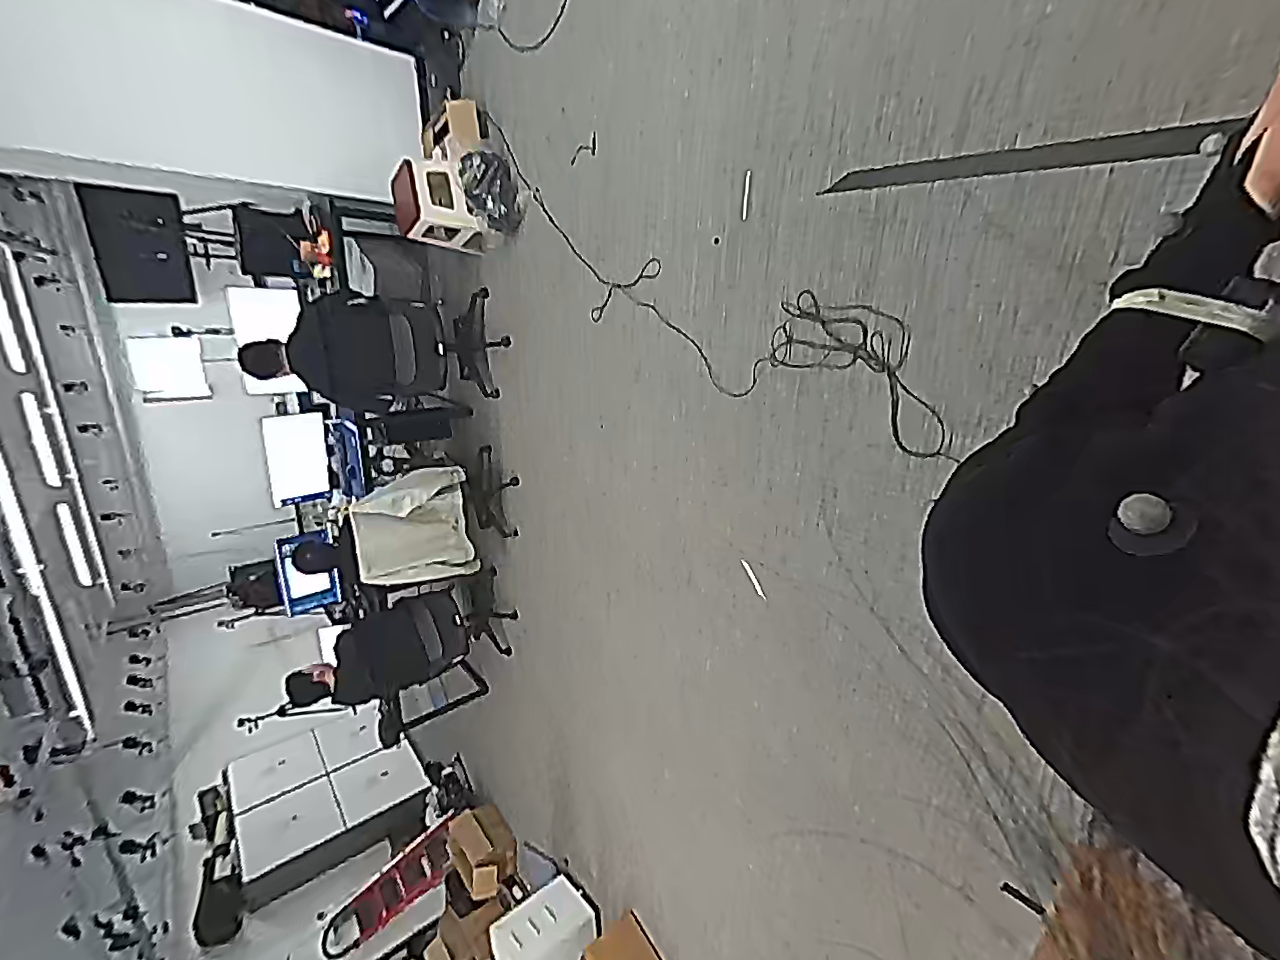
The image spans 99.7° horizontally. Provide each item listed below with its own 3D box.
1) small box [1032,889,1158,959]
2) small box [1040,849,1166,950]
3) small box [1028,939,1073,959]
[{"bbox_3d":[0.968,1.047,1.162,0.179,0.176,0.168,25,118,44],"label":"small box"},{"bbox_3d":[1.087,1.019,1.272,0.179,0.176,0.168,21,116,45],"label":"small box"},{"bbox_3d":[0.839,1.077,1.066,0.168,0.176,0.179,24,117,44],"label":"small box"}]
